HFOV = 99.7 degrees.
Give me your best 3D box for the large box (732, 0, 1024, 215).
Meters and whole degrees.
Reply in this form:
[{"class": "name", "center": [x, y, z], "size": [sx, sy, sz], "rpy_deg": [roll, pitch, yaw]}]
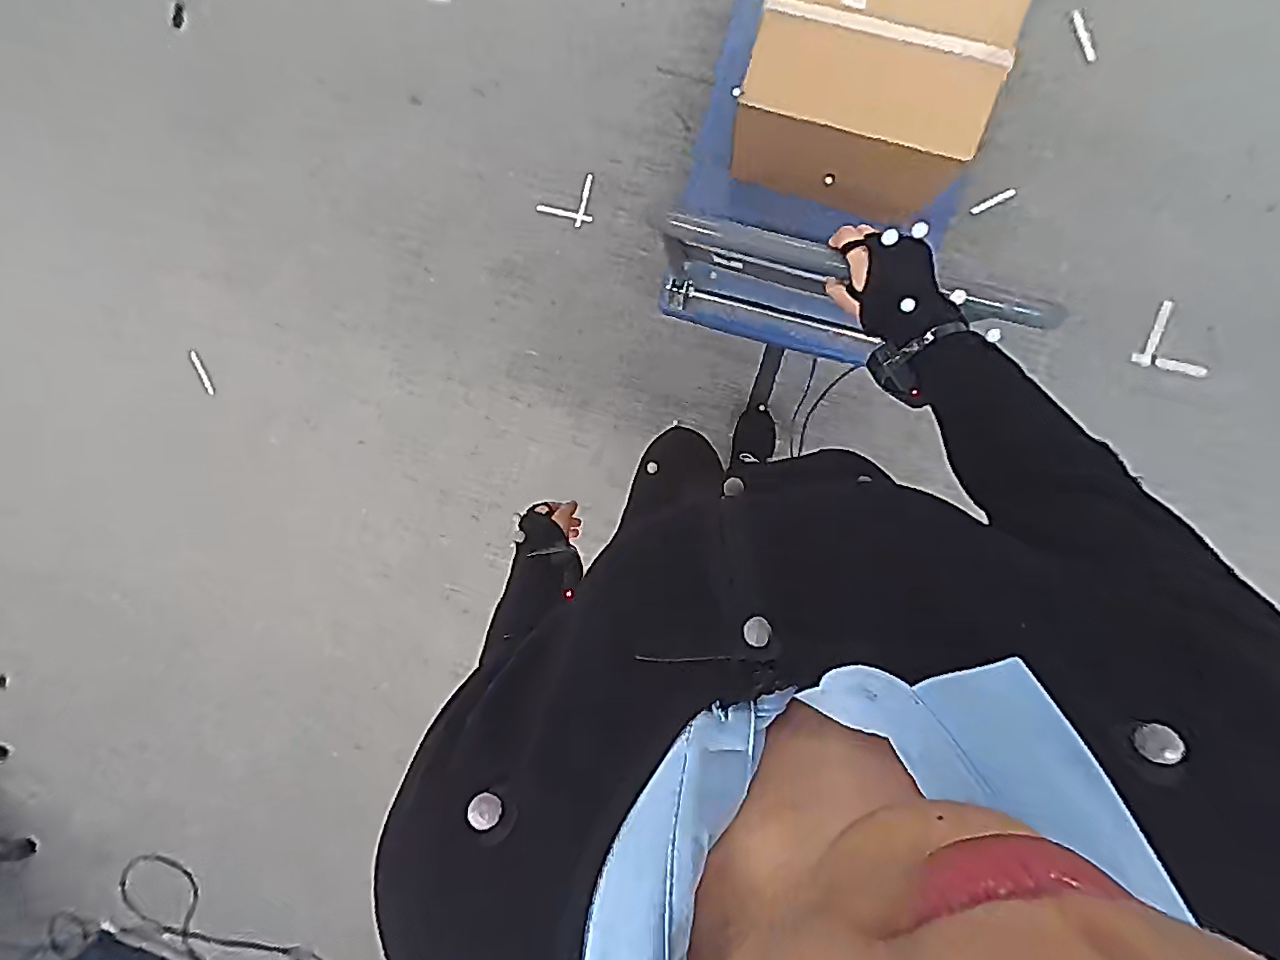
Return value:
[{"class": "large box", "center": [0.413, -0.749, 1.021], "size": [0.408, 0.320, 0.320], "rpy_deg": [17, 98, 6]}]
